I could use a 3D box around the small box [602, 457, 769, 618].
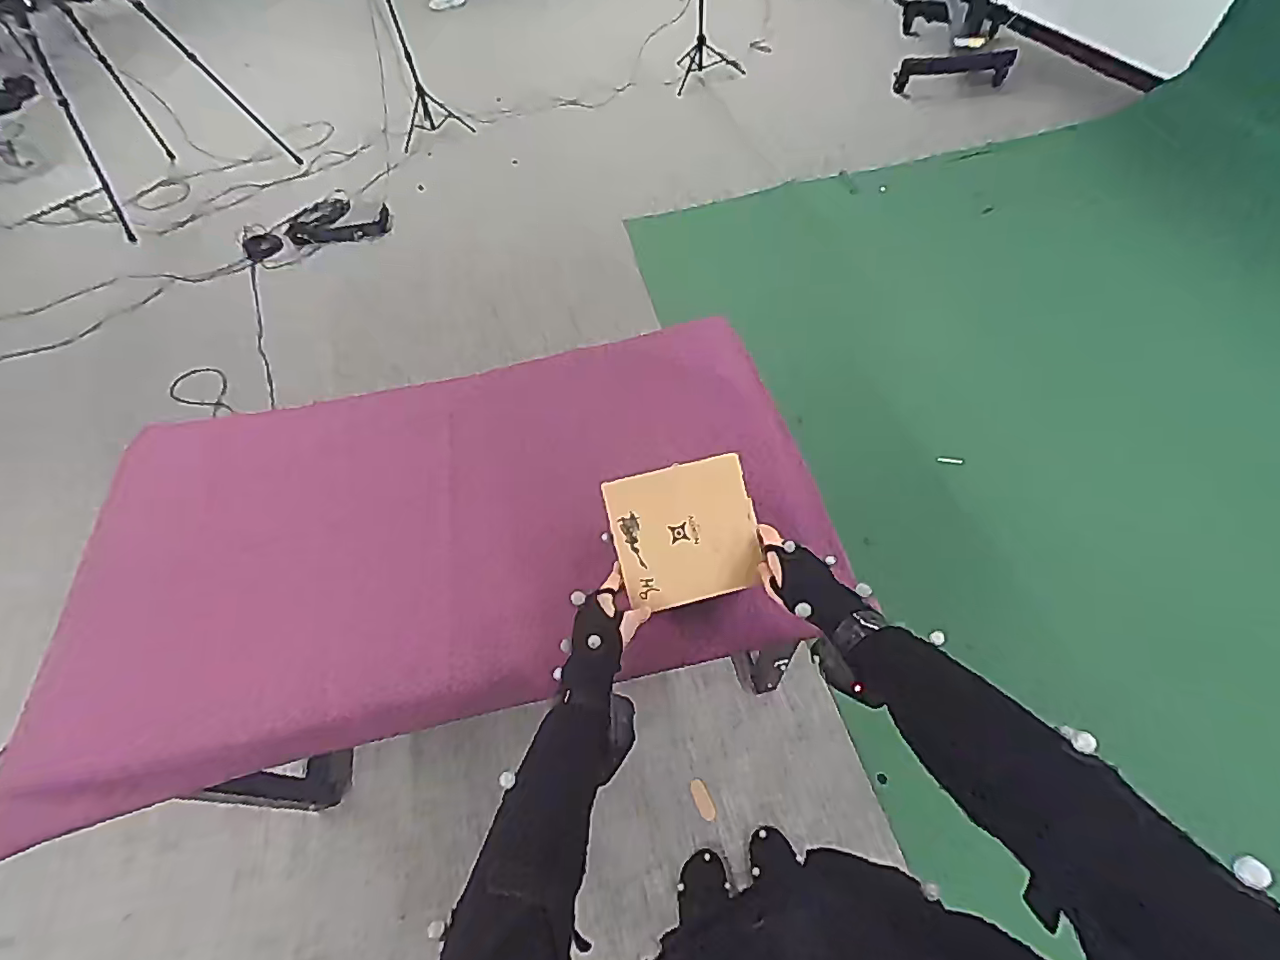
[{"bbox_3d":[0.052,0.079,0.730,0.179,0.176,0.168,-14,80,-3],"label":"small box"}]
